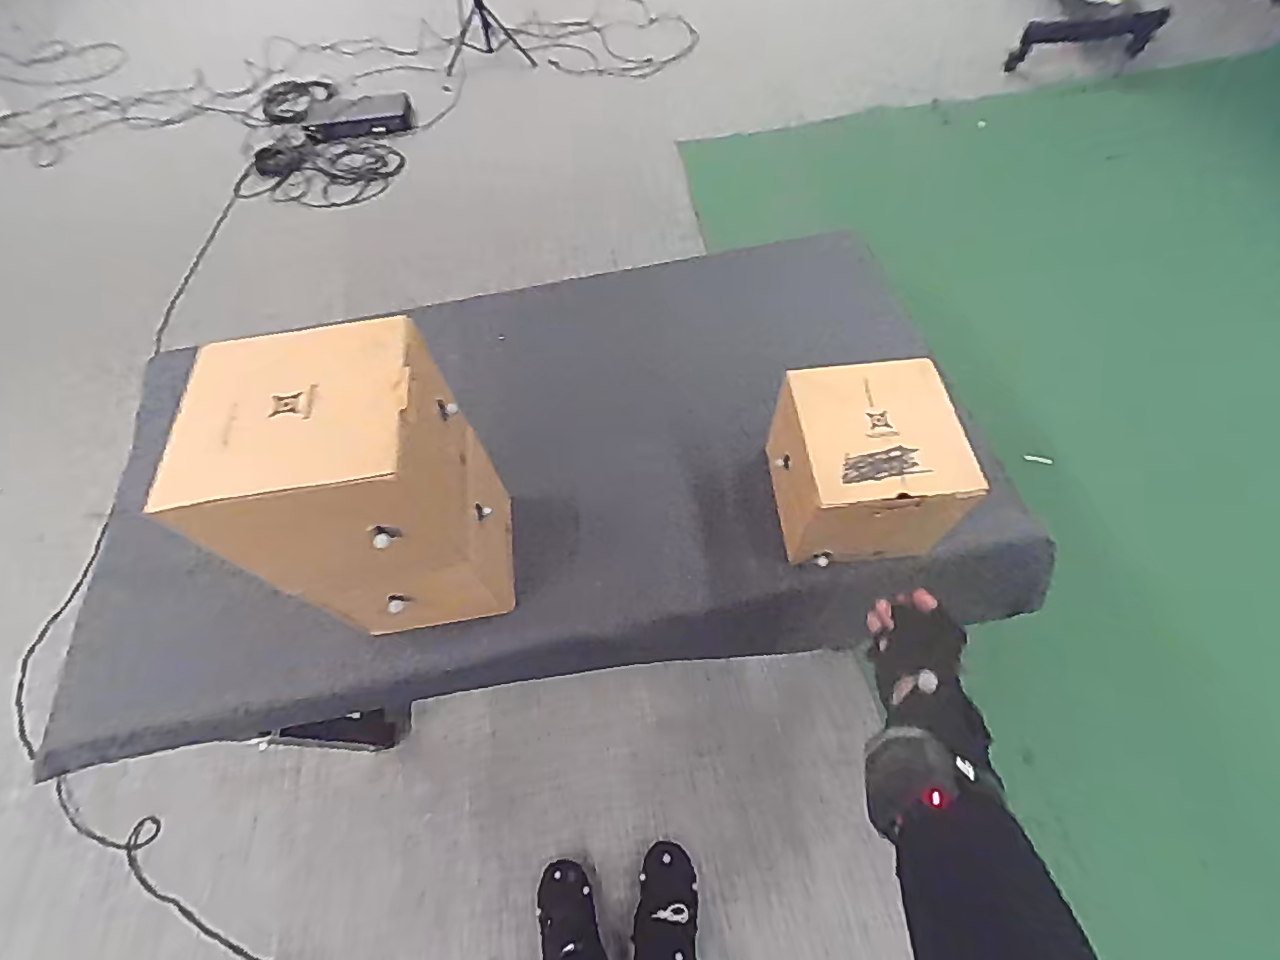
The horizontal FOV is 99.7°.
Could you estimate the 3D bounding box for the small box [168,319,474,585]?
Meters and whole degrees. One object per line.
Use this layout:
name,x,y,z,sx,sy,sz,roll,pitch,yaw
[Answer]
small box,-0.261,-0.018,0.499,0.179,0.176,0.168,-10,58,-2

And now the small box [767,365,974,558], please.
small box,0.256,-0.013,0.652,0.168,0.176,0.179,-4,60,1

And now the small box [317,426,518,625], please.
small box,-0.254,0.061,0.641,0.179,0.176,0.168,-9,60,-2
